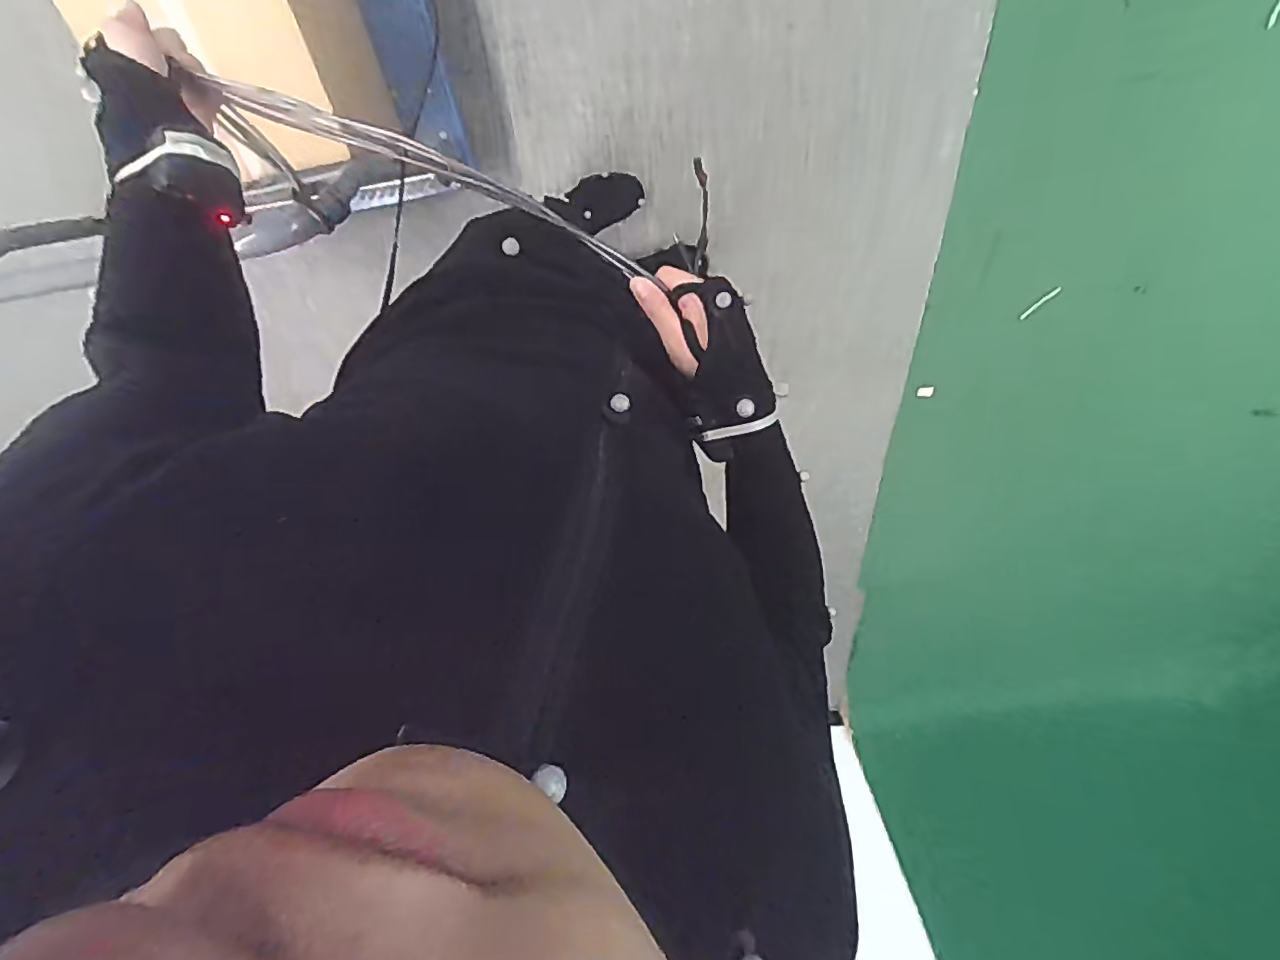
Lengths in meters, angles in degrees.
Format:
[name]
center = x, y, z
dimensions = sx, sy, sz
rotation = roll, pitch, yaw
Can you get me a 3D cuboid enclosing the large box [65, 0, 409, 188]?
[large box]
center = -0.642, -0.741, 0.877
dimensions = 0.320, 0.320, 0.408
rotation = -10, 125, 3
